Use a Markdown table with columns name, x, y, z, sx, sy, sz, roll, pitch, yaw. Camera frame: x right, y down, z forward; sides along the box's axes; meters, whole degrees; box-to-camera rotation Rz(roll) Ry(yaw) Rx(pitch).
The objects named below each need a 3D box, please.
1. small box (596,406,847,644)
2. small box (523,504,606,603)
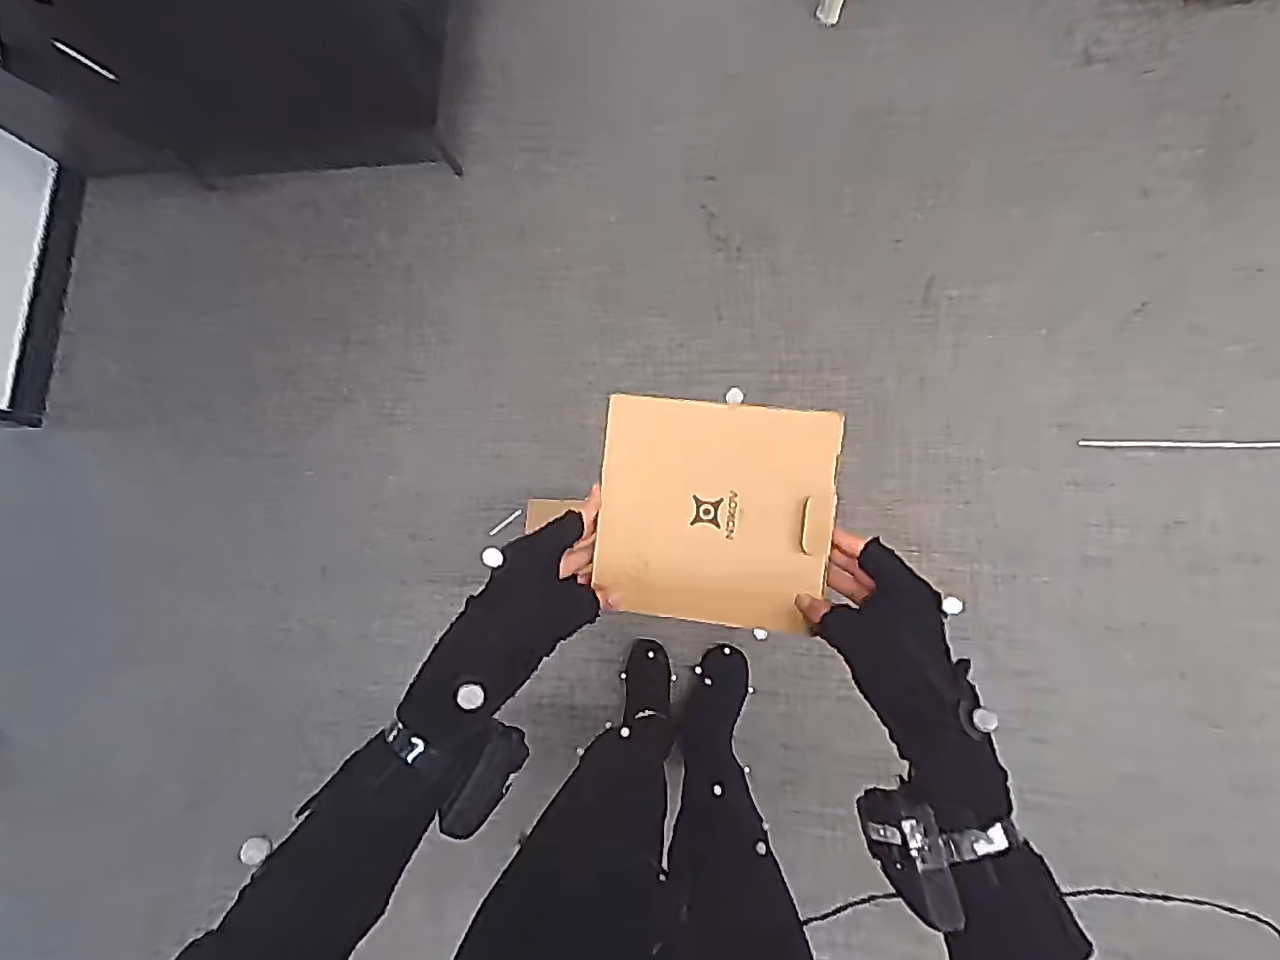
| name | x | y | z | sx | sy | sz | roll | pitch | yaw |
| --- | --- | --- | --- | --- | --- | --- | --- | --- | --- |
| small box | 0.069 | 0.033 | 0.485 | 0.179 | 0.176 | 0.168 | 5 | 91 | 7 |
| small box | -0.118 | 0.144 | 1.061 | 0.168 | 0.176 | 0.179 | 1 | 81 | 9 |
